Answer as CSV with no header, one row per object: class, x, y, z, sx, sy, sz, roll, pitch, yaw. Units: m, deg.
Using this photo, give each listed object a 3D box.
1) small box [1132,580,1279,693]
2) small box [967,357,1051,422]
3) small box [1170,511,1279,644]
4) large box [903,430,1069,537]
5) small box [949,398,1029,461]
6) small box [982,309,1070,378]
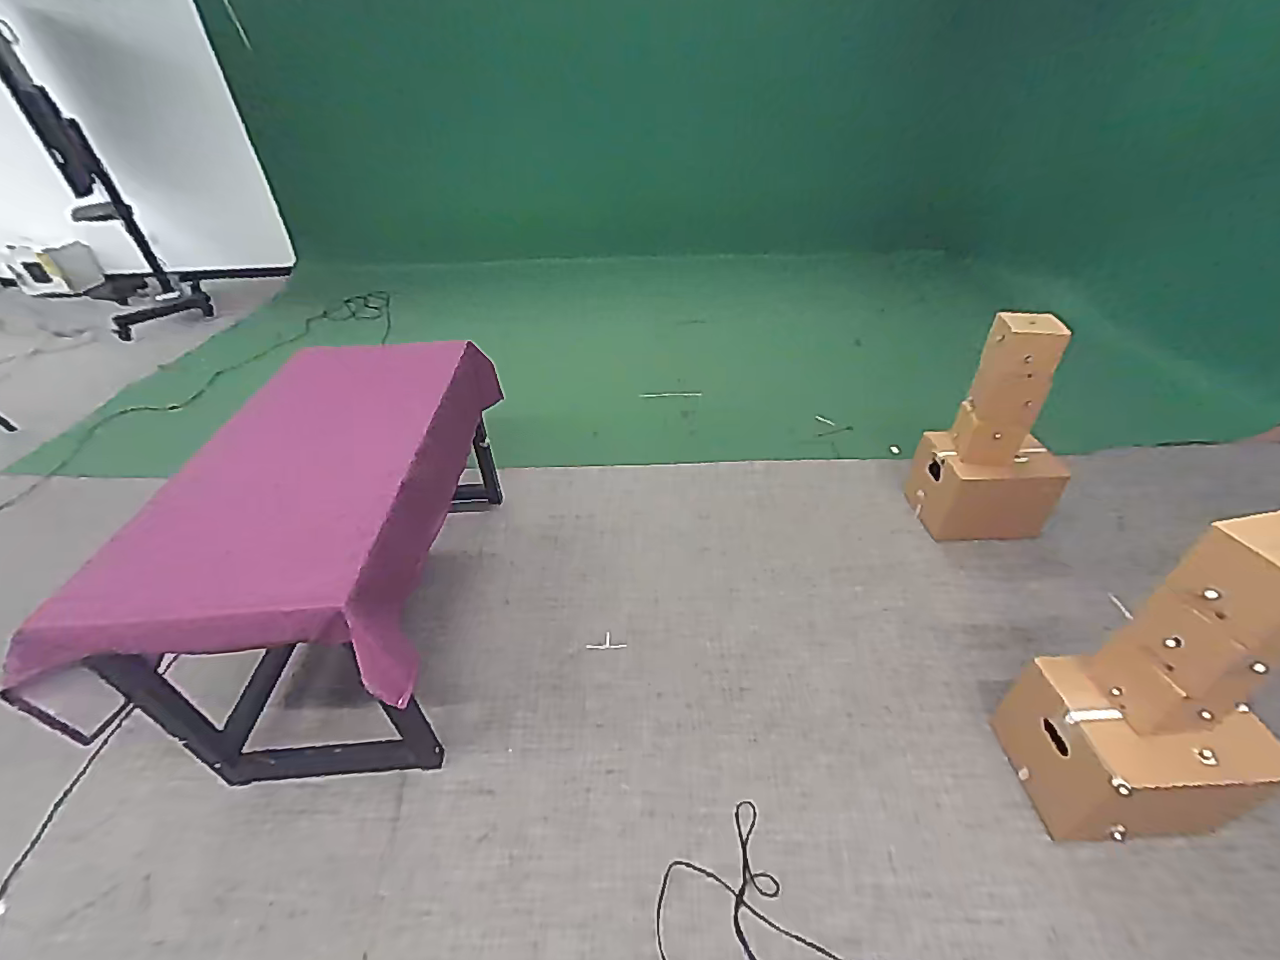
small box,1.167,0.310,1.102,0.179,0.176,0.168,-8,38,-6
small box,1.275,-0.315,1.882,0.179,0.176,0.168,6,38,12
small box,1.164,0.179,1.002,0.179,0.176,0.168,-8,37,-7
large box,1.328,0.008,2.124,0.408,0.320,0.320,-1,39,-1
small box,1.270,-0.184,1.979,0.179,0.176,0.168,4,38,9
small box,1.267,-0.450,1.788,0.168,0.176,0.179,8,38,12
